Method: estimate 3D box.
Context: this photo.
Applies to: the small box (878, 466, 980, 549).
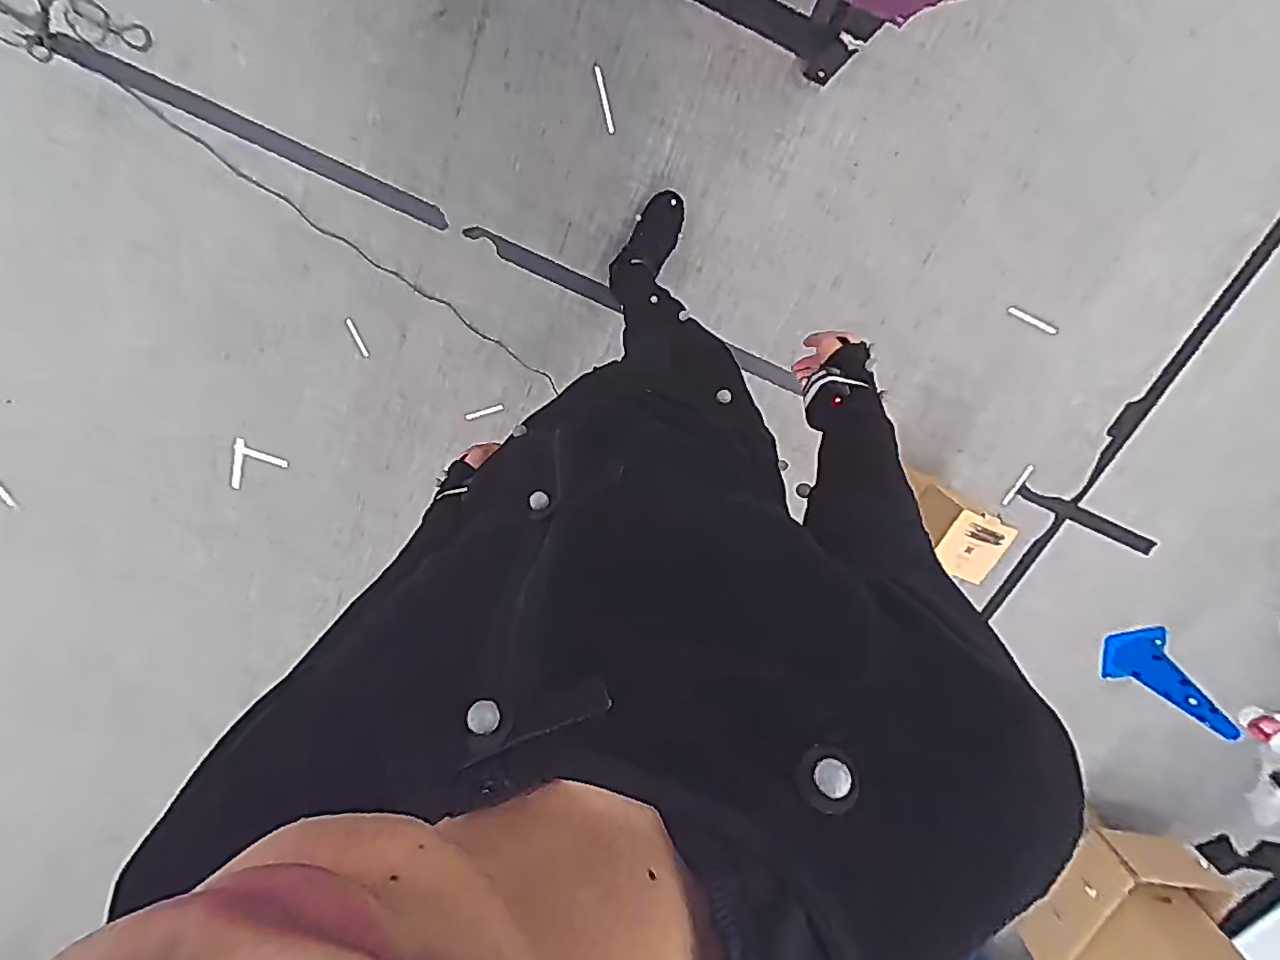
[{"bbox_3d":[0.840,0.074,1.594,0.179,0.176,0.168,18,111,-7],"label":"small box"}]
